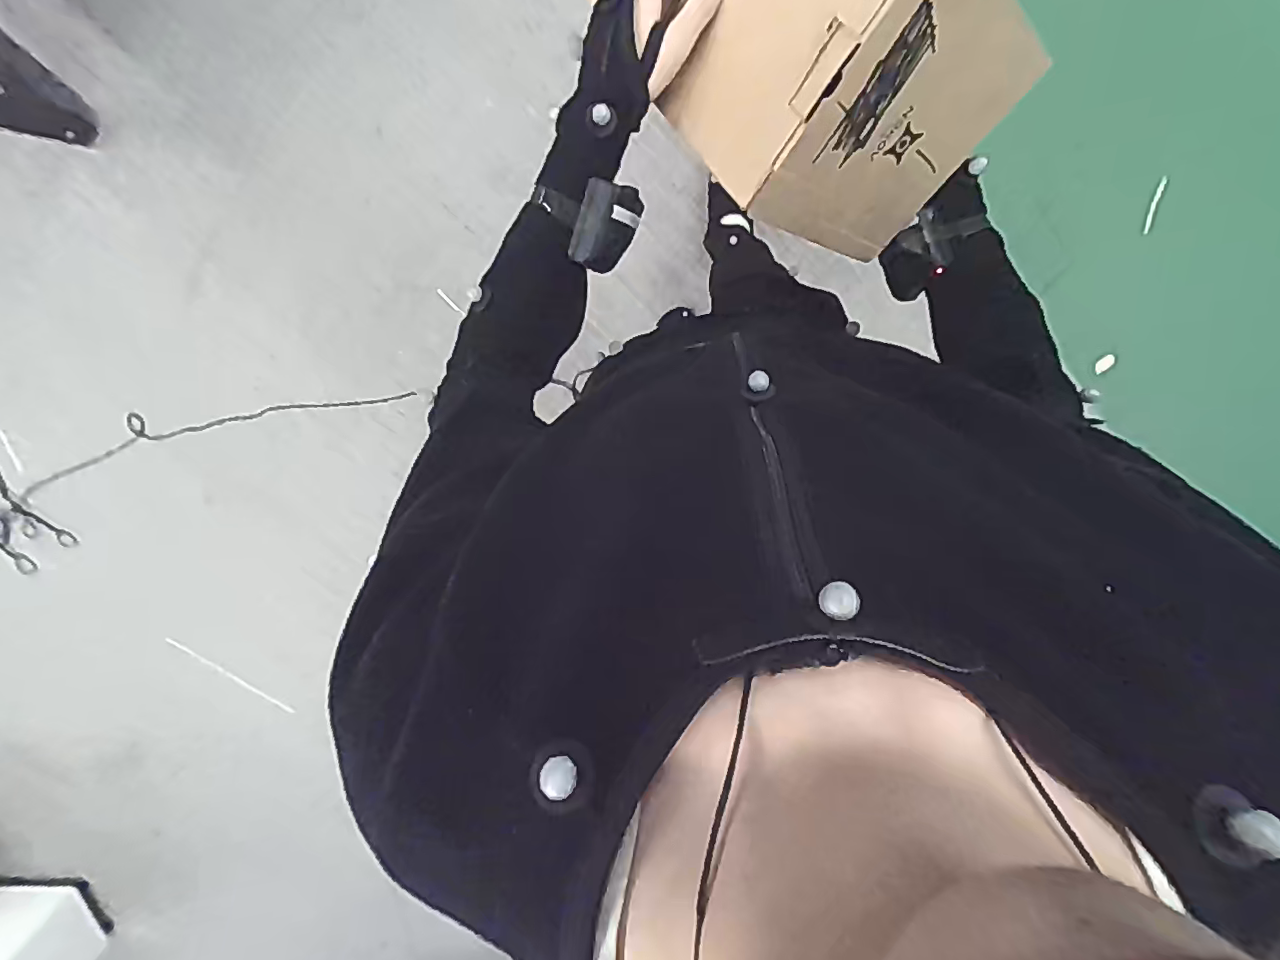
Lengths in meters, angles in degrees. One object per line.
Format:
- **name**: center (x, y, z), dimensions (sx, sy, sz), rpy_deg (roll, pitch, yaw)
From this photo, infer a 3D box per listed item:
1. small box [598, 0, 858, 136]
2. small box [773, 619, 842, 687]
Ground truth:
- **small box**: center (0.072, -0.451, 0.461), dimensions (0.168, 0.176, 0.179), rpy_deg (-1, 146, -37)
- **small box**: center (0.529, 0.566, 1.668), dimensions (0.168, 0.176, 0.179), rpy_deg (-25, 109, 10)
